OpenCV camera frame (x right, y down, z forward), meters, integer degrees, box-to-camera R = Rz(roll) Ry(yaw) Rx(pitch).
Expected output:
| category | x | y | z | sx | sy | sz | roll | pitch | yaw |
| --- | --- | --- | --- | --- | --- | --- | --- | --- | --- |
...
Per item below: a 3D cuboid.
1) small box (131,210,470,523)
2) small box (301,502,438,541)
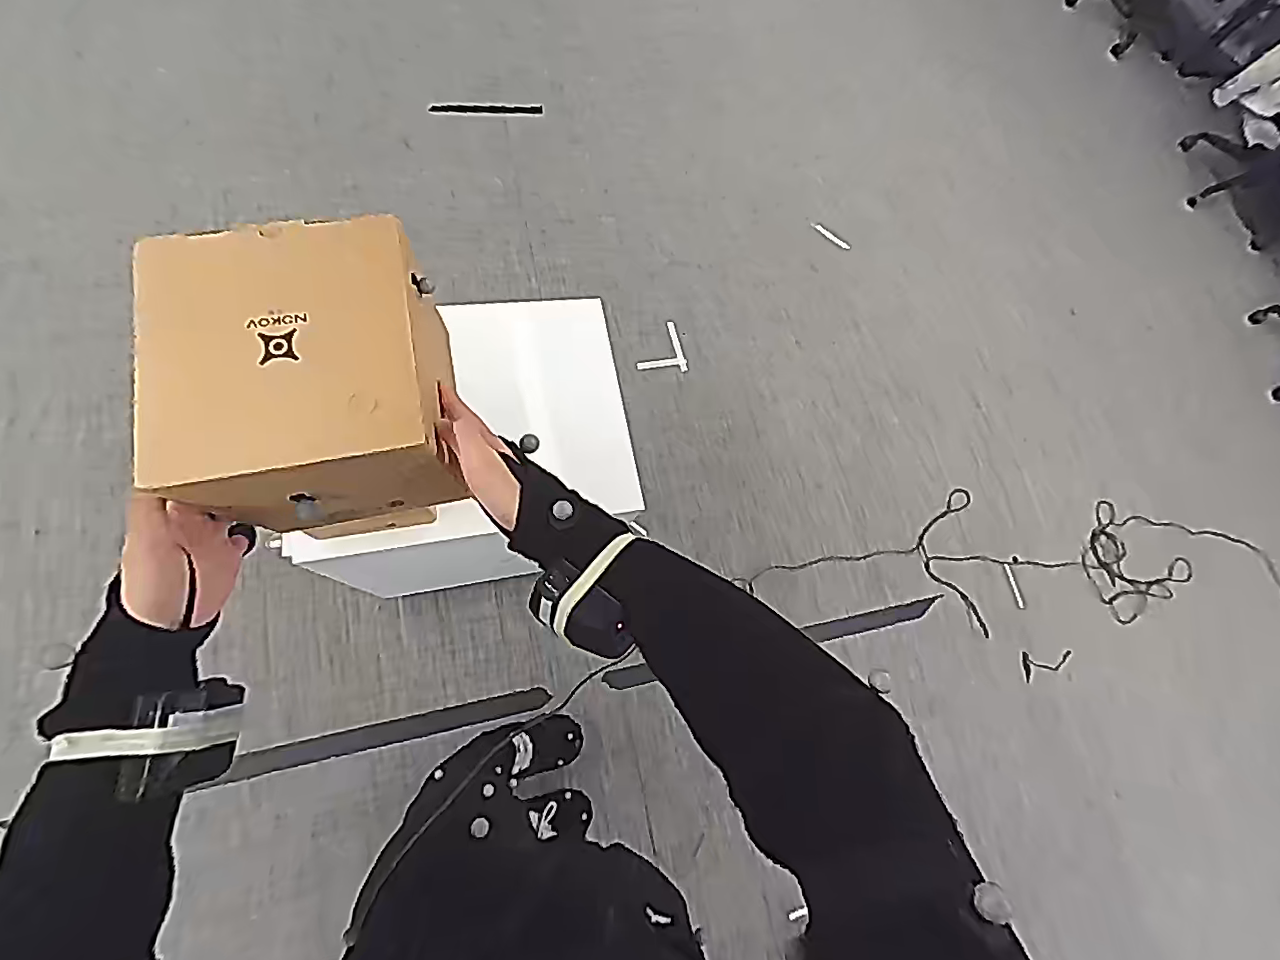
| category | x | y | z | sx | sy | sz | roll | pitch | yaw |
| --- | --- | --- | --- | --- | --- | --- | --- | --- | --- |
| small box | -0.239 | -0.070 | 0.420 | 0.168 | 0.176 | 0.179 | -11 | 77 | -10 |
| small box | -0.370 | -0.032 | 0.716 | 0.168 | 0.176 | 0.179 | -8 | 74 | -16 |
